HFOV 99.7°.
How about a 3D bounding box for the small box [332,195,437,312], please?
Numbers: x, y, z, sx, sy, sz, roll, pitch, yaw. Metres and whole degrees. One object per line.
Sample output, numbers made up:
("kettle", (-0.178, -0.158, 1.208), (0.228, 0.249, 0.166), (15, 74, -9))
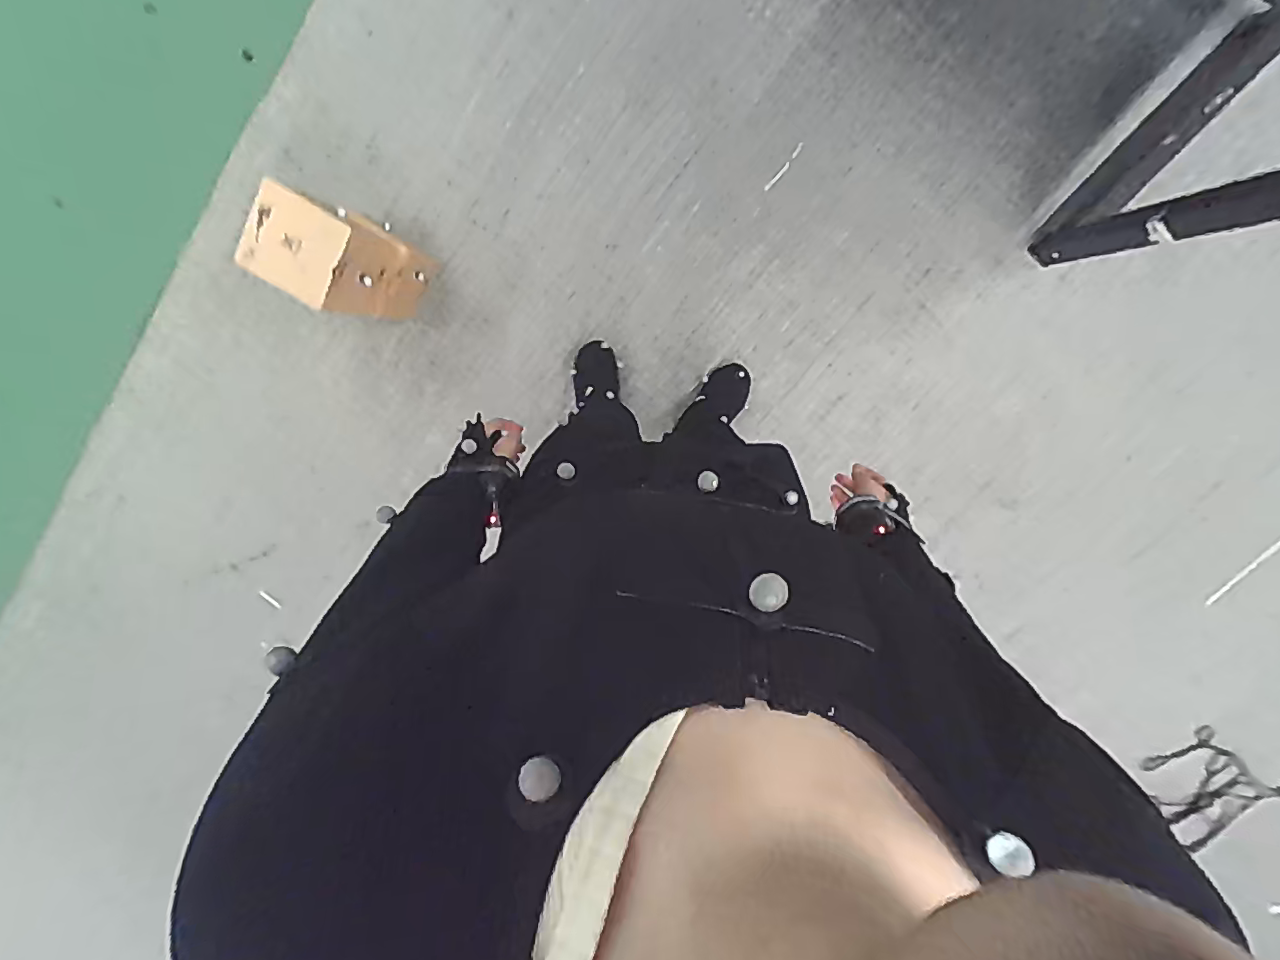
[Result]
("small box", (-0.584, -0.489, 1.195), (0.179, 0.176, 0.168), (33, 103, -5))

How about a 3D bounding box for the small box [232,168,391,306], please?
("small box", (-0.616, -0.452, 1.037), (0.179, 0.176, 0.168), (31, 103, -6))
